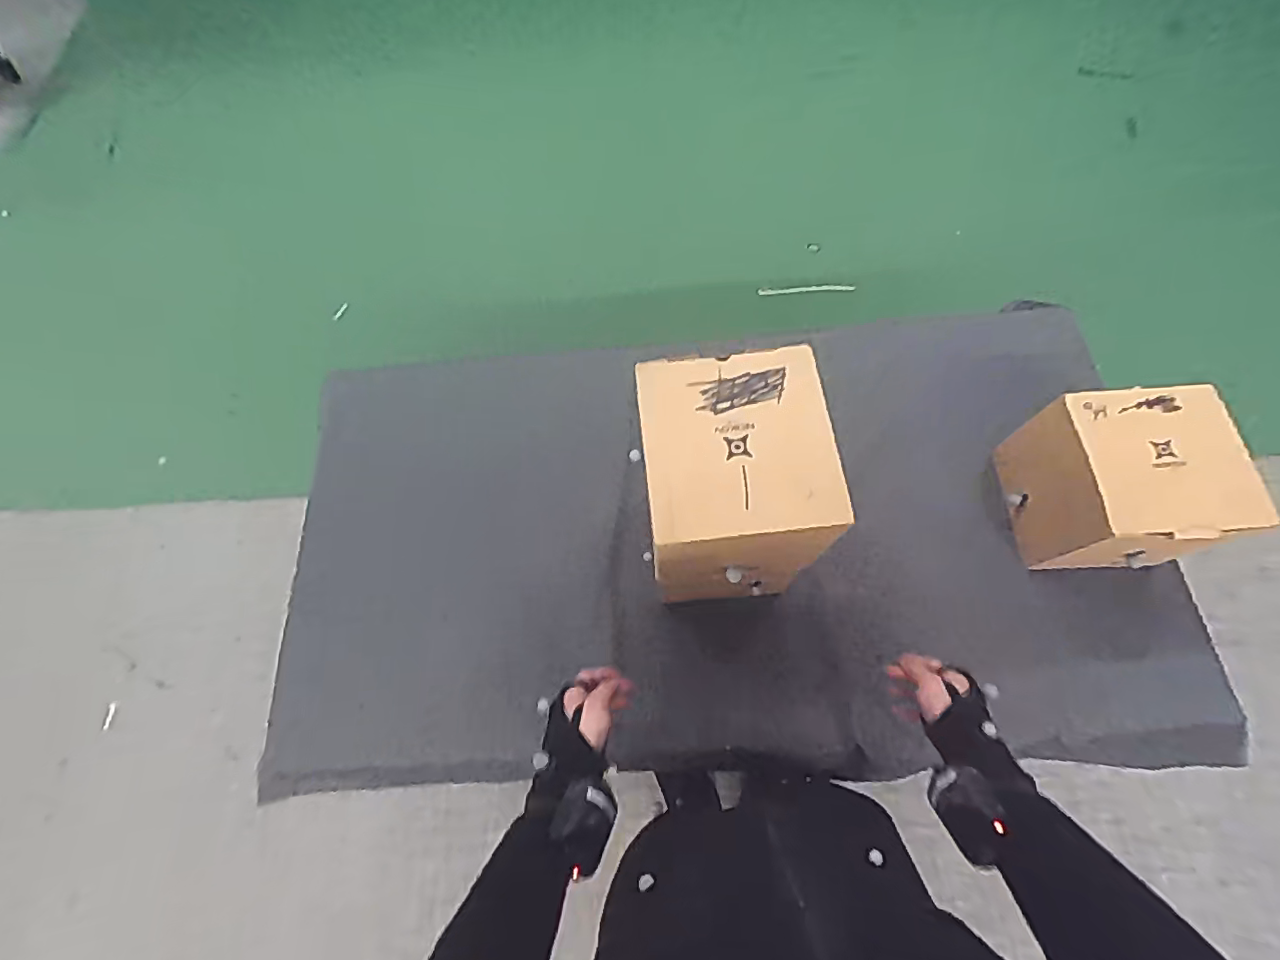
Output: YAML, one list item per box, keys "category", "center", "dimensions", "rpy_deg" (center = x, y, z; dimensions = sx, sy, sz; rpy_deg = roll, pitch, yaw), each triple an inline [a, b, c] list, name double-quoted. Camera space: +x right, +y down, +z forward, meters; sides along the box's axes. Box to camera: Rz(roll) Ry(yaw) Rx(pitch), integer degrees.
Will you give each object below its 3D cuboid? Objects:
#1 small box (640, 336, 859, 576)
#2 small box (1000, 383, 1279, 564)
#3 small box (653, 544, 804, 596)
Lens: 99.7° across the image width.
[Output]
- category: "small box"
  center: [0.089, -0.014, 0.532]
  dimensions: [0.168, 0.176, 0.179]
  rpy_deg: [-6, 69, 1]
- category: "small box"
  center: [0.582, 0.003, 0.658]
  dimensions: [0.168, 0.176, 0.179]
  rpy_deg: [-3, 68, 4]
- category: "small box"
  center: [0.098, 0.045, 0.685]
  dimensions: [0.168, 0.176, 0.179]
  rpy_deg: [-5, 67, 1]
